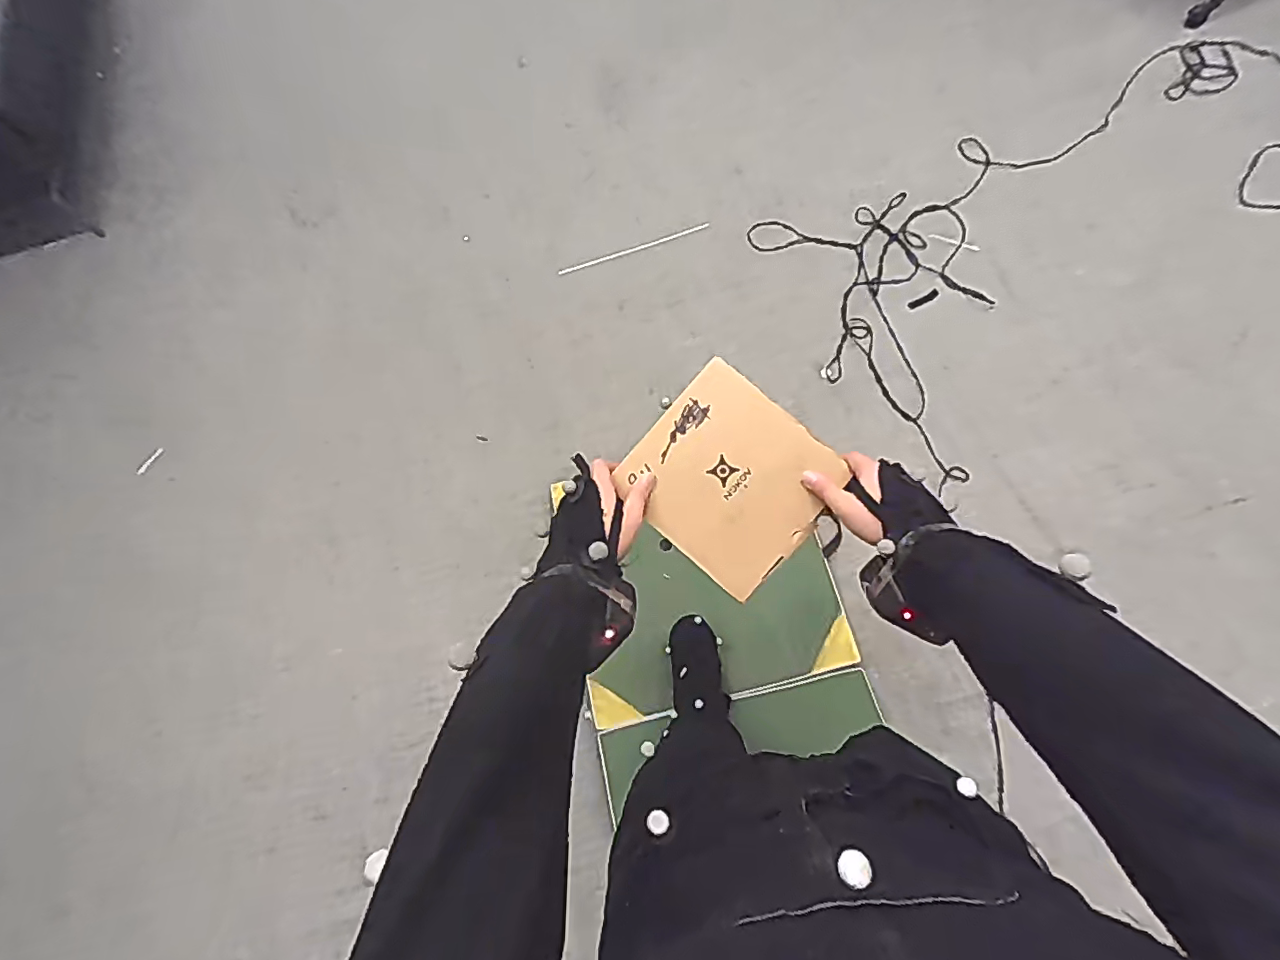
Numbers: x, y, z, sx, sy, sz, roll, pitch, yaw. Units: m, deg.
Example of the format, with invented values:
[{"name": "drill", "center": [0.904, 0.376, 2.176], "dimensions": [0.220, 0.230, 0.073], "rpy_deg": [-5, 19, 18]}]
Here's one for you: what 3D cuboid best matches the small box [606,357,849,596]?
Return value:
[{"name": "small box", "center": [0.087, -0.002, 0.597], "dimensions": [0.179, 0.176, 0.168], "rpy_deg": [41, 89, 5]}]
